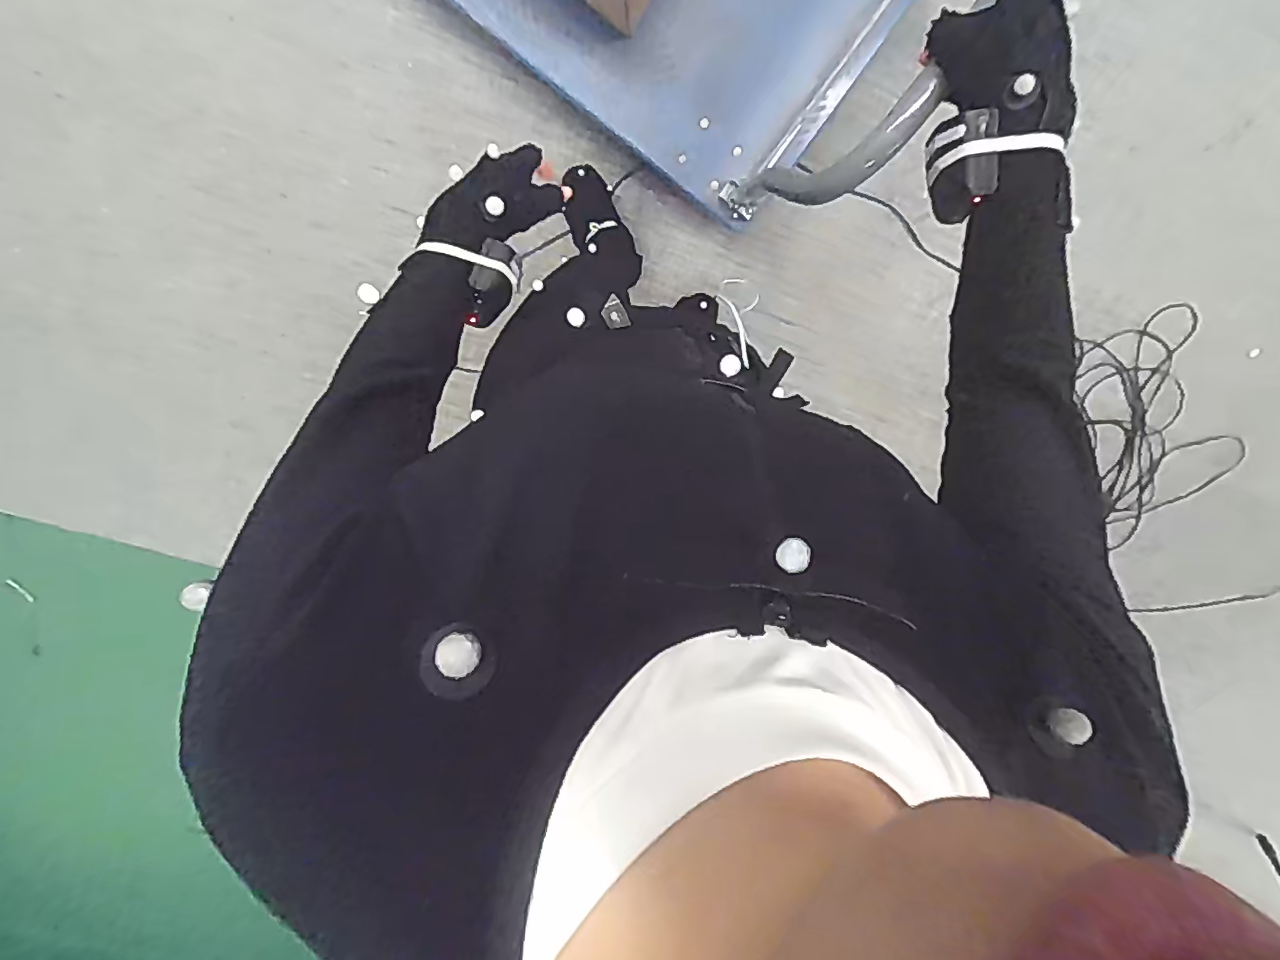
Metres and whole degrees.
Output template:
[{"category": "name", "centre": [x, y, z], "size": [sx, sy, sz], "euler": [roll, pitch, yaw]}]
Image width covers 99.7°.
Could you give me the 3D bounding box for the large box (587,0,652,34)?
[{"category": "large box", "centre": [-0.035, -0.932, 0.714], "size": [0.320, 0.320, 0.408], "euler": [30, 116, -14]}]
